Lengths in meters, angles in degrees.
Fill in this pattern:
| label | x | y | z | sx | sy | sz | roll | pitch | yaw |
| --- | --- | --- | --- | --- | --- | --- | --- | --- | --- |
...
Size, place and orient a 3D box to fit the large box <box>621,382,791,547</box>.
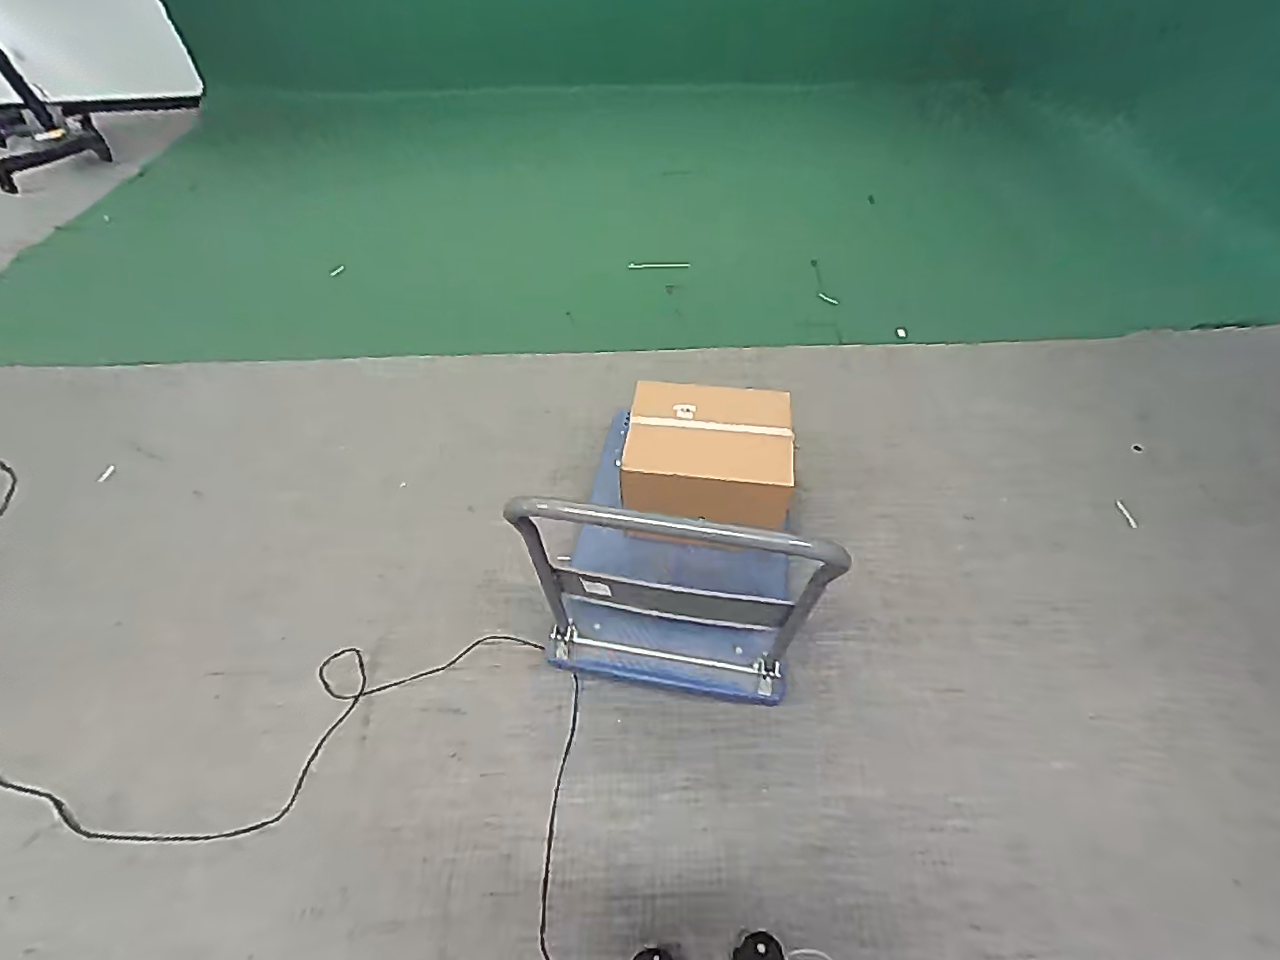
| label | x | y | z | sx | sy | sz | roll | pitch | yaw |
| --- | --- | --- | --- | --- | --- | --- | --- | --- | --- |
| large box | 0.177 | -0.038 | 1.469 | 0.408 | 0.320 | 0.320 | 6 | 52 | 7 |
